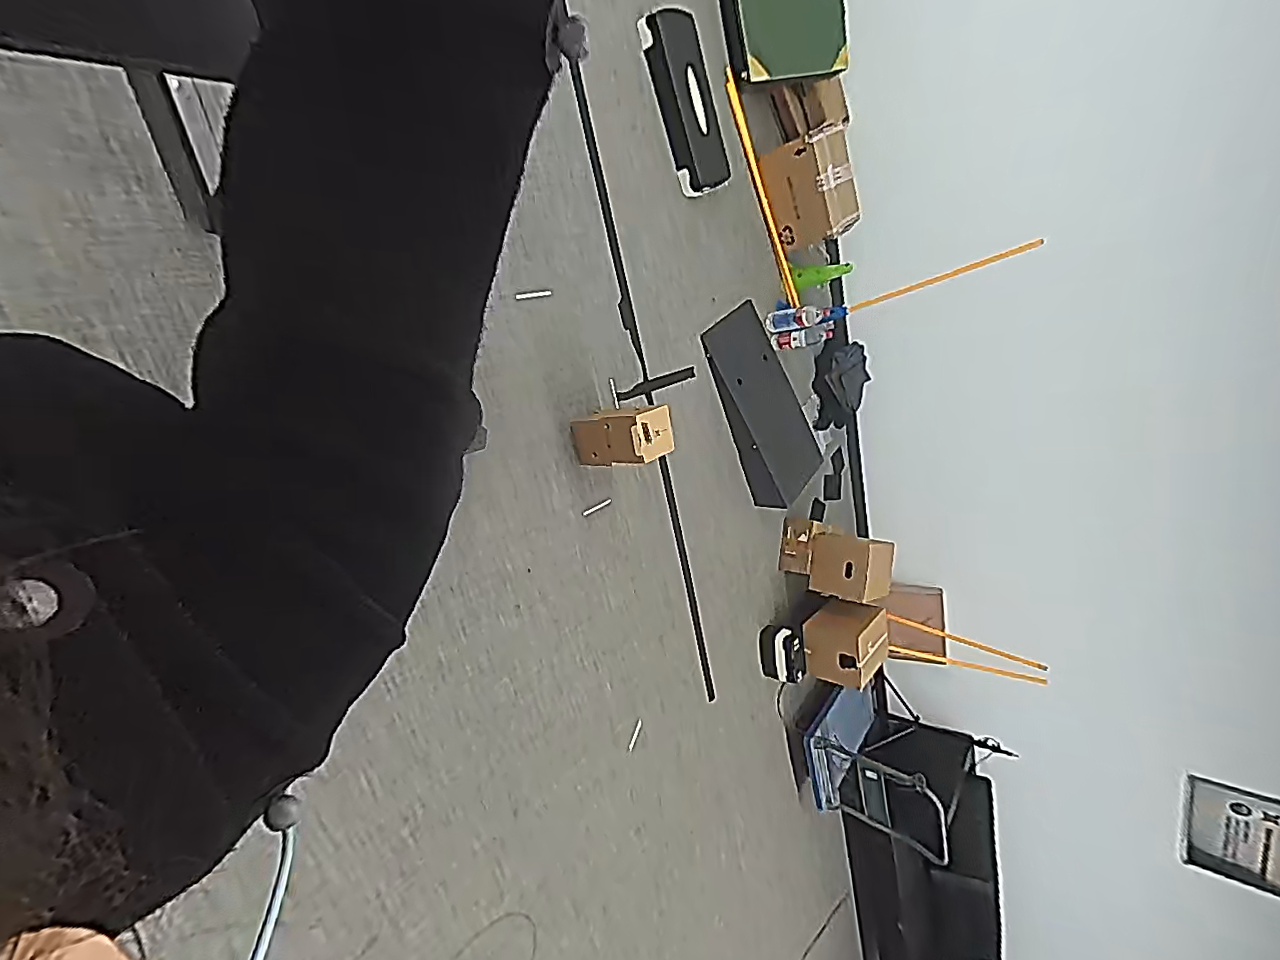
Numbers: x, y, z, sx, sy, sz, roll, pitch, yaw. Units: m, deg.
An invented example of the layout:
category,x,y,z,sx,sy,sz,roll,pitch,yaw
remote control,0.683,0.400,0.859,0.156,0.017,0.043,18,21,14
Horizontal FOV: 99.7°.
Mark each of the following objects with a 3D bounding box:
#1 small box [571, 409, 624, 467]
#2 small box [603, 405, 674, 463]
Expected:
category,x,y,z,sx,sy,sz,roll,pitch,yaw
small box,-0.126,-0.158,1.984,0.168,0.176,0.179,-29,113,-42
small box,-0.010,-0.159,1.868,0.179,0.176,0.168,-26,112,-44
